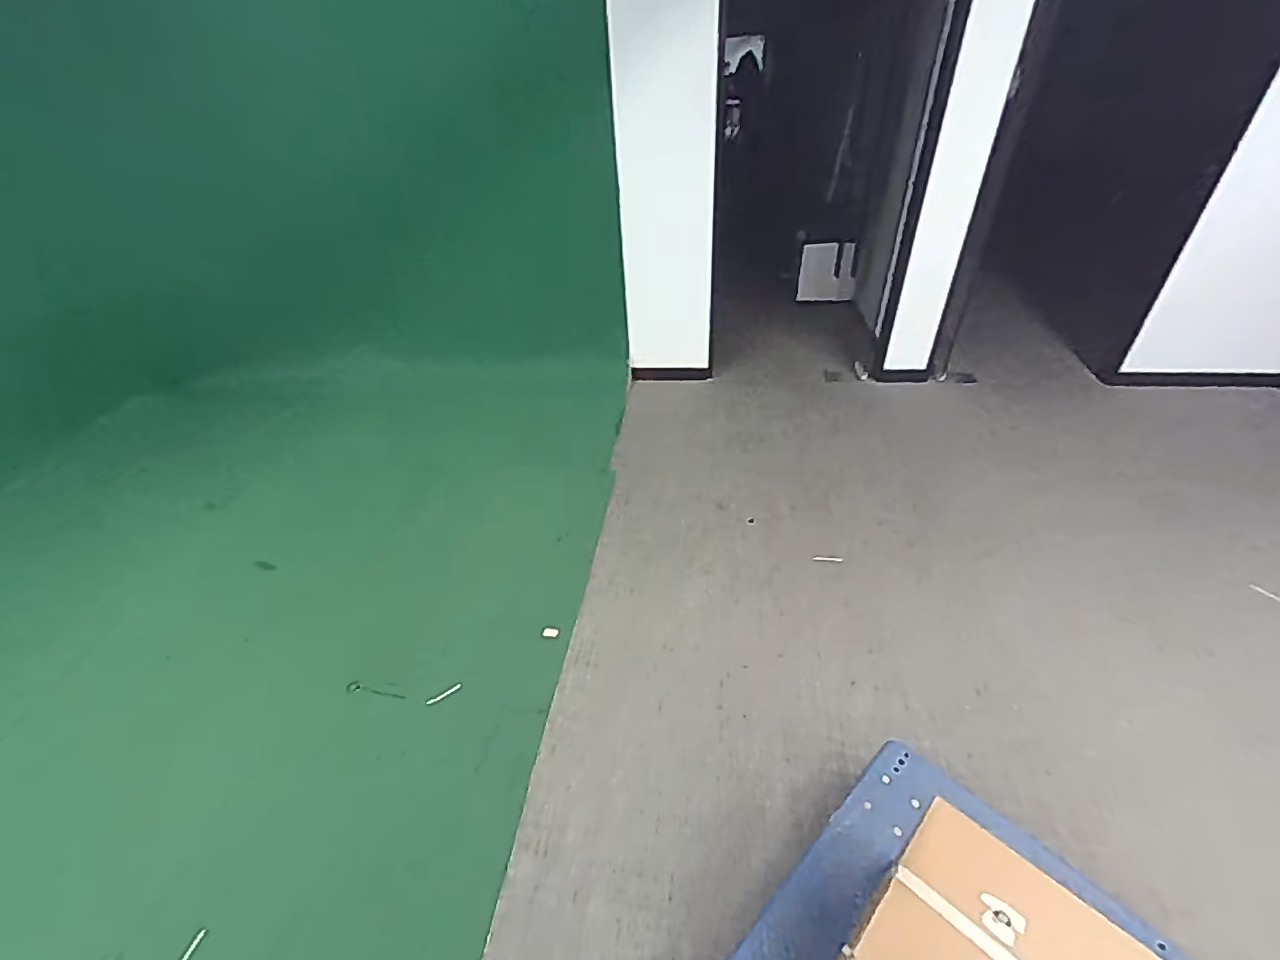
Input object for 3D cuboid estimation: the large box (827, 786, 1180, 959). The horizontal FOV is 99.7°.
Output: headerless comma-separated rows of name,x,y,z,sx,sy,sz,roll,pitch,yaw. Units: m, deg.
large box,0.551,0.800,0.846,0.320,0.320,0.408,-34,46,-32
